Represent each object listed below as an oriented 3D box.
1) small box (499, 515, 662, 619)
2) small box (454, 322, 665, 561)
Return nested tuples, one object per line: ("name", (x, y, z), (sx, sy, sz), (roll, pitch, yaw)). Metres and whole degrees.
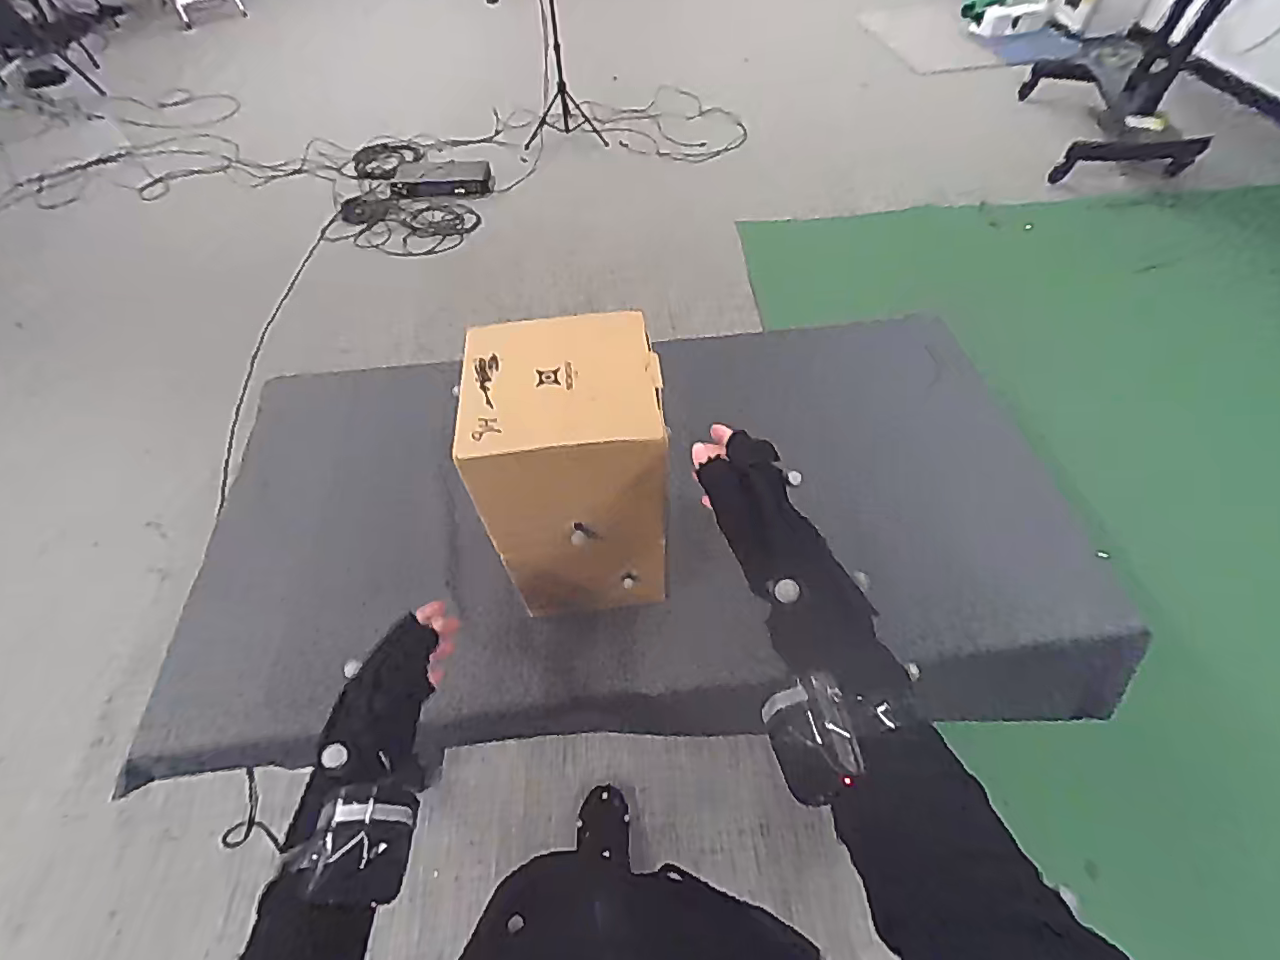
("small box", (-0.070, 0.060, 0.683), (0.179, 0.176, 0.168), (-8, 54, -2))
("small box", (-0.075, -0.034, 0.552), (0.179, 0.176, 0.168), (-8, 55, -4))
